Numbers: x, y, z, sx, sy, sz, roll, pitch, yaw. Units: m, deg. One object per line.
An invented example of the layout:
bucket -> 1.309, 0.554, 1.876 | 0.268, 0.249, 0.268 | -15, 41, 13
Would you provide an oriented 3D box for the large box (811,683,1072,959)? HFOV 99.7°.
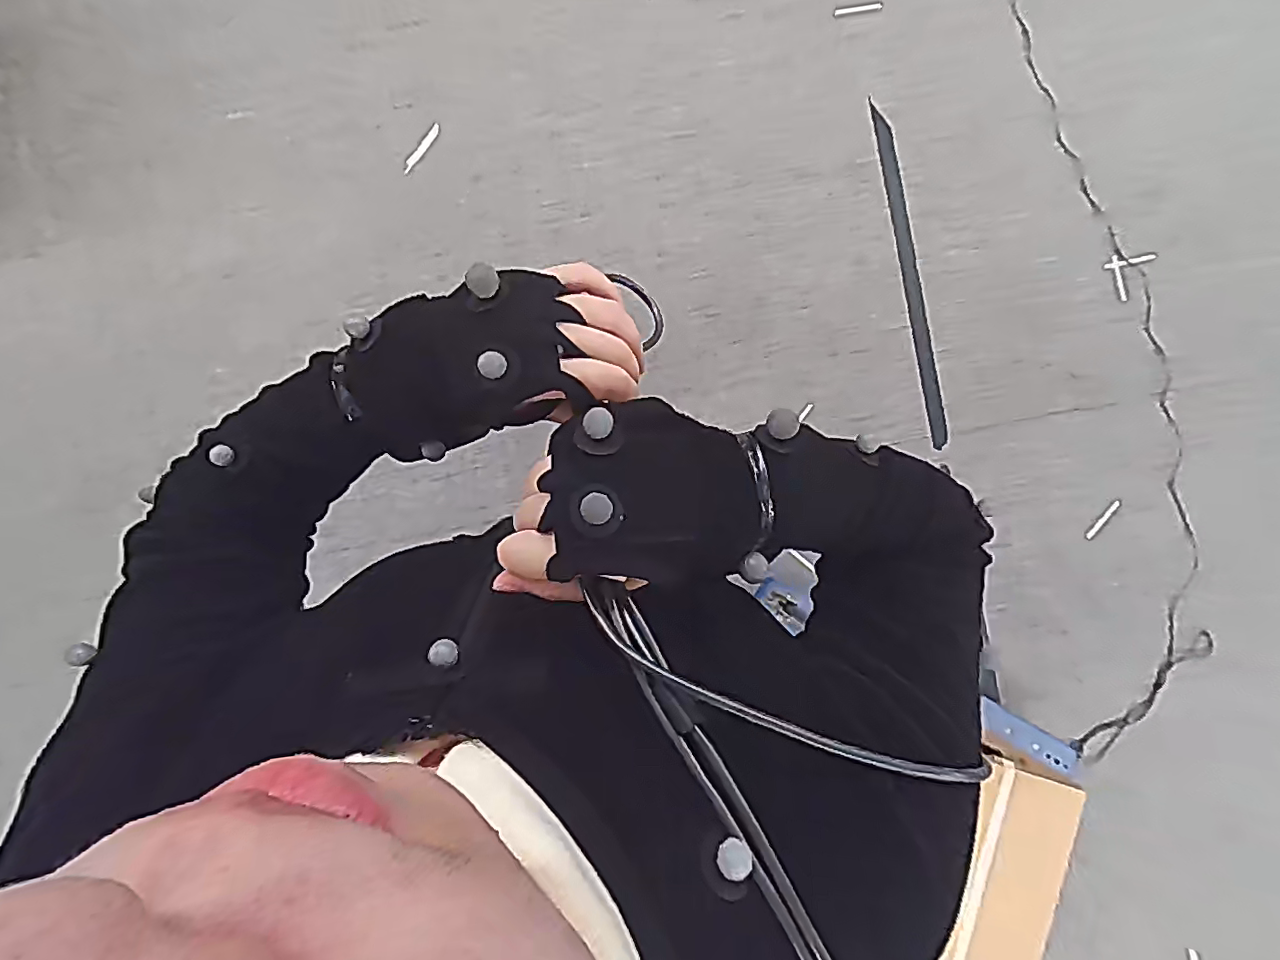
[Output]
large box -> 0.614, 0.717, 1.163 | 0.320, 0.320, 0.408 | 18, 88, 0
